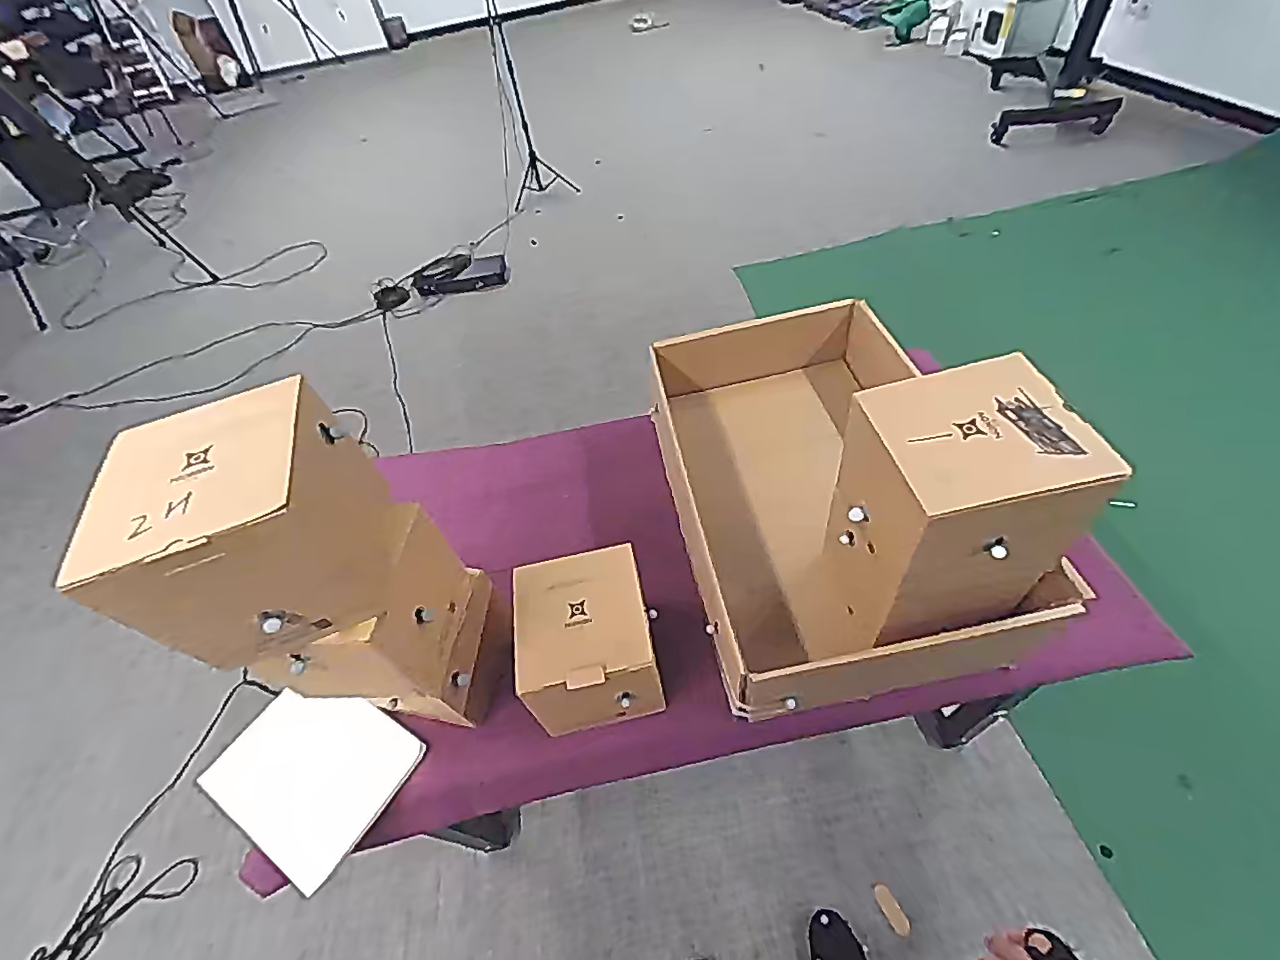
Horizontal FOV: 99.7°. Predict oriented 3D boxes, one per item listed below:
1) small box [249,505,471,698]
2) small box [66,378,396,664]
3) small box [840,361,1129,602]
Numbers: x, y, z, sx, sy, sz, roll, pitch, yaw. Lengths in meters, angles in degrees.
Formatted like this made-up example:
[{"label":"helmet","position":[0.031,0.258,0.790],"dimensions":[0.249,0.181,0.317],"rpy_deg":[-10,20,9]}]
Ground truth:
[{"label":"small box","position":[-0.320,0.144,0.631],"dimensions":[0.179,0.176,0.168],"rpy_deg":[-3,50,8]},{"label":"small box","position":[-0.348,0.040,0.506],"dimensions":[0.168,0.176,0.179],"rpy_deg":[-20,51,-6]},{"label":"small box","position":[0.330,0.006,0.567],"dimensions":[0.179,0.176,0.168],"rpy_deg":[-13,49,3]}]
